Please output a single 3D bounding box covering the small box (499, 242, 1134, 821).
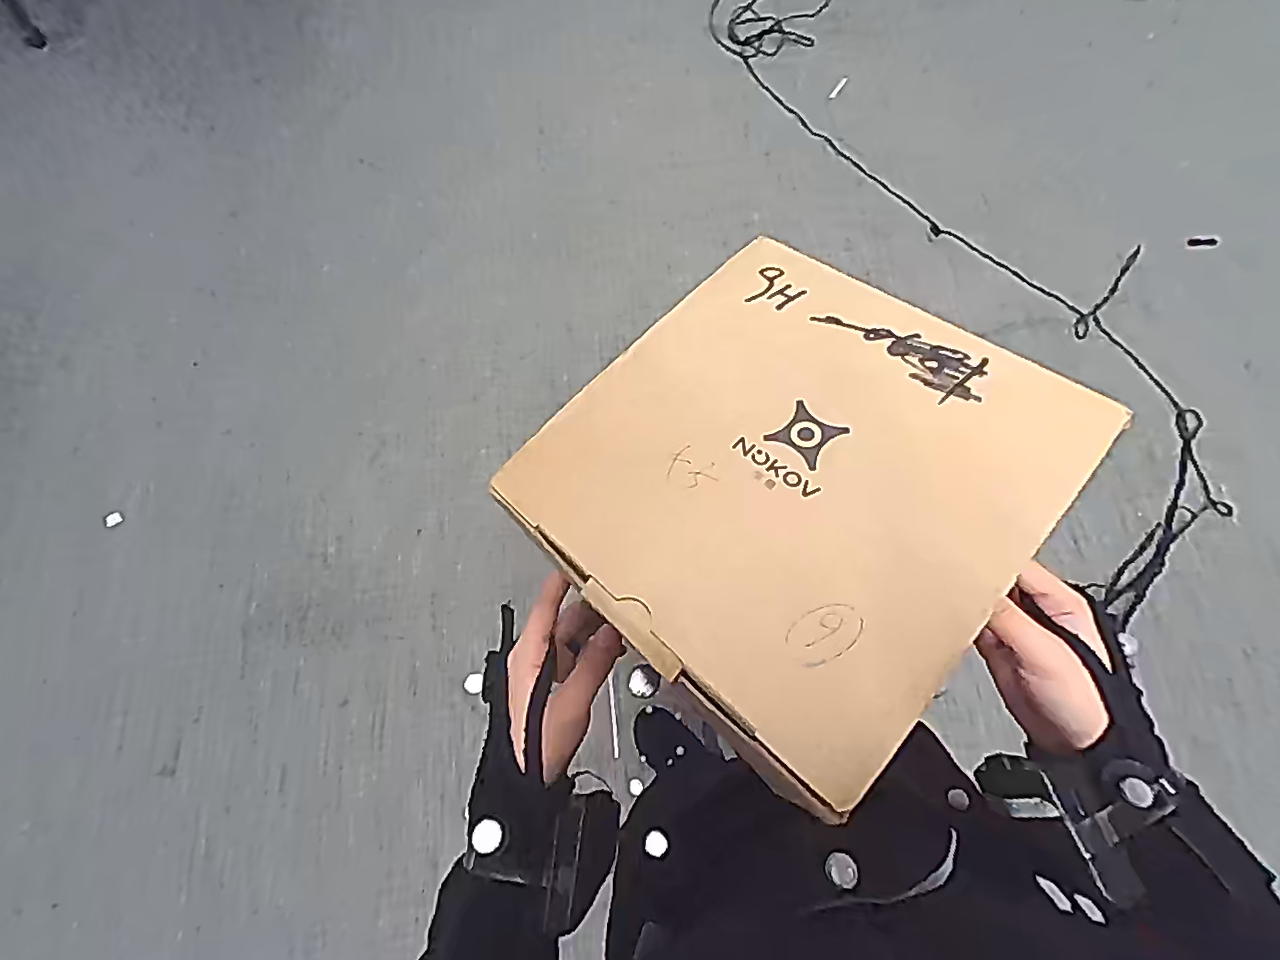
[{"bbox_3d":[0.070,0.029,0.272,0.168,0.176,0.179,40,75,25],"label":"small box"}]
